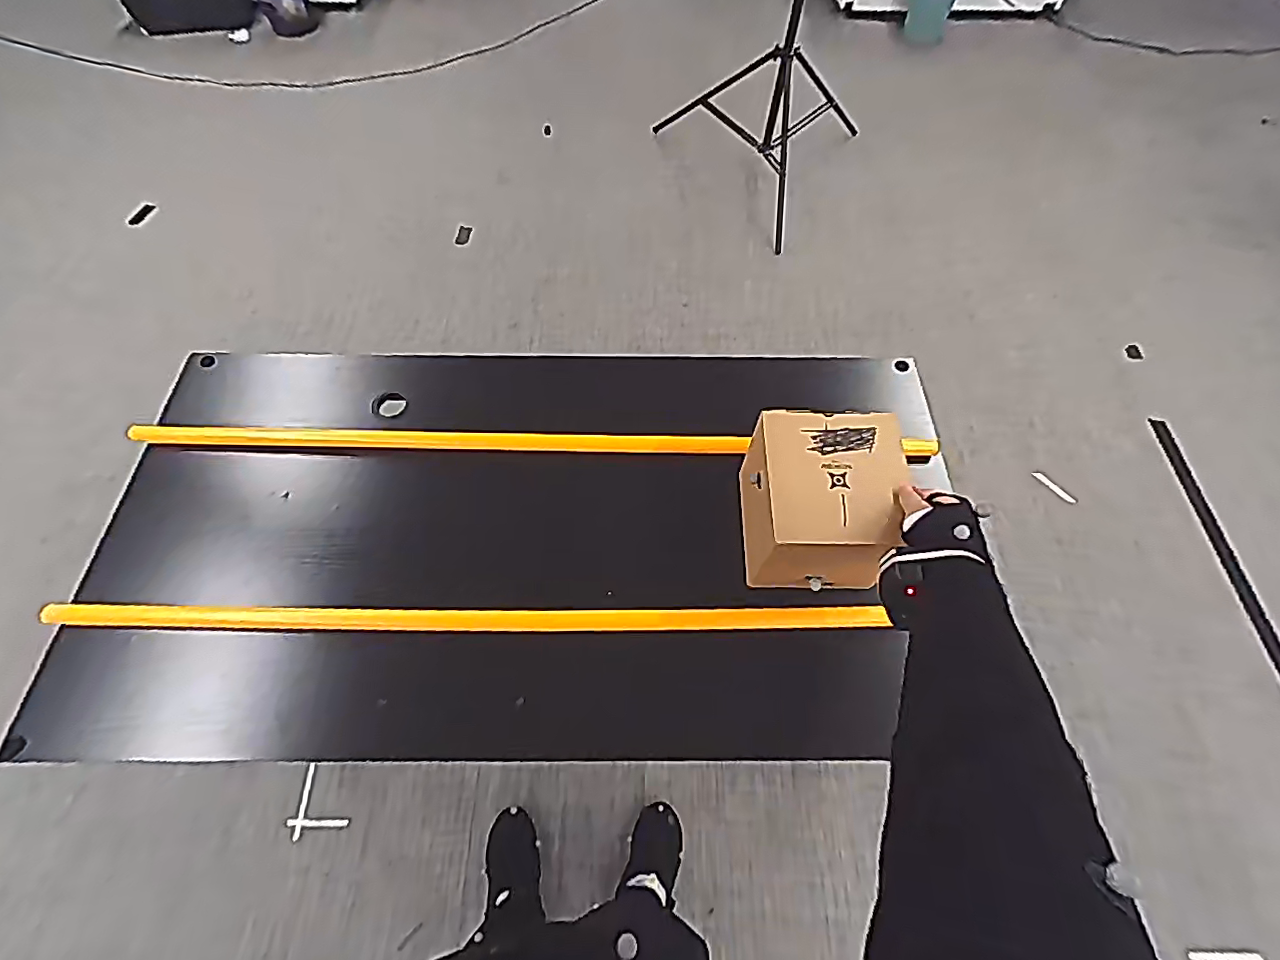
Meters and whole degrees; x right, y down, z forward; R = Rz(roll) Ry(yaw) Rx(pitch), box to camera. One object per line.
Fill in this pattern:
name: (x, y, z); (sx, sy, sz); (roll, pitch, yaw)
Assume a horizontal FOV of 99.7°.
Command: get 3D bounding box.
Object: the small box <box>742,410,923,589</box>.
small box: (0.230, 0.030, 0.698); (0.168, 0.176, 0.179); (1, 63, 1)
